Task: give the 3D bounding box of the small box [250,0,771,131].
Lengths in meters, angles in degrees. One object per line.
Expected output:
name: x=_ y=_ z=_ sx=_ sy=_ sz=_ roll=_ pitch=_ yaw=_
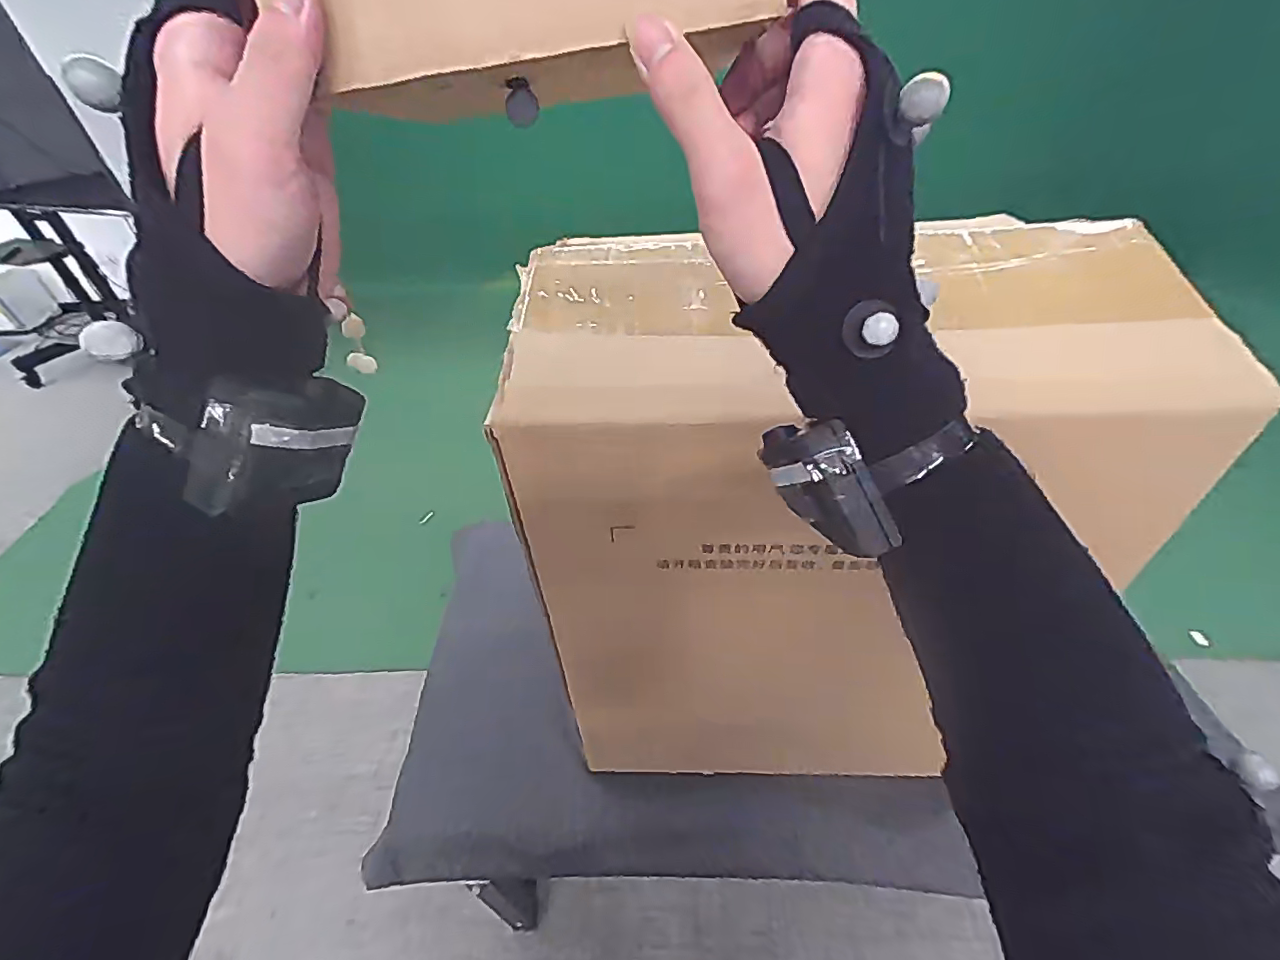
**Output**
small box: x=-0.051 y=-0.253 z=0.220 sx=0.179 sy=0.168 sz=0.176 roll=-7 pitch=30 yaw=3
